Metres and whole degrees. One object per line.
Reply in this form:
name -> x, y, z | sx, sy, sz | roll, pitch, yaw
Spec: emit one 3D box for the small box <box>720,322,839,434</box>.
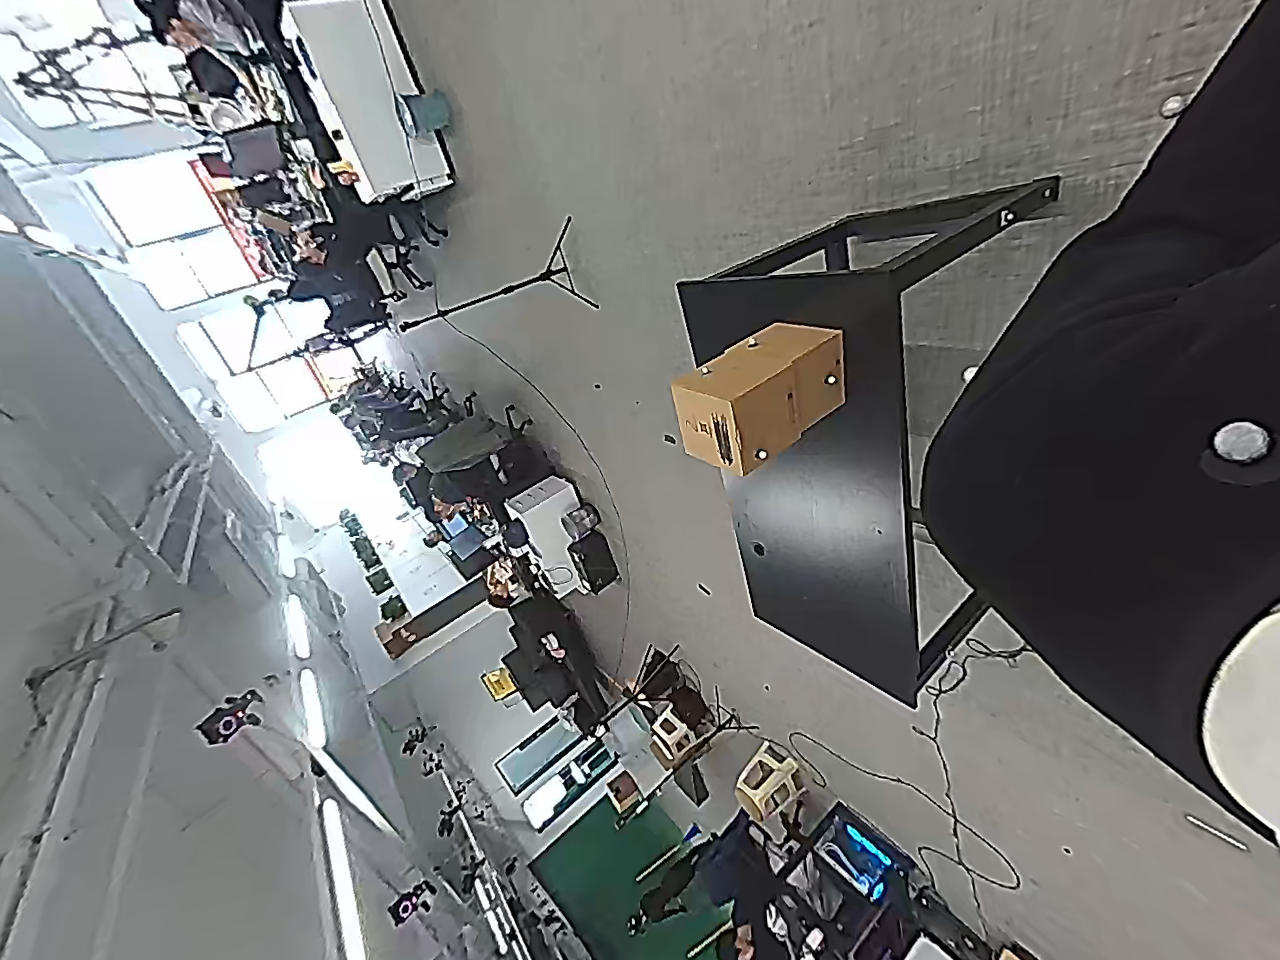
small box -> 0.300, -0.226, 1.154 | 0.179, 0.176, 0.168 | 28, 143, 47
